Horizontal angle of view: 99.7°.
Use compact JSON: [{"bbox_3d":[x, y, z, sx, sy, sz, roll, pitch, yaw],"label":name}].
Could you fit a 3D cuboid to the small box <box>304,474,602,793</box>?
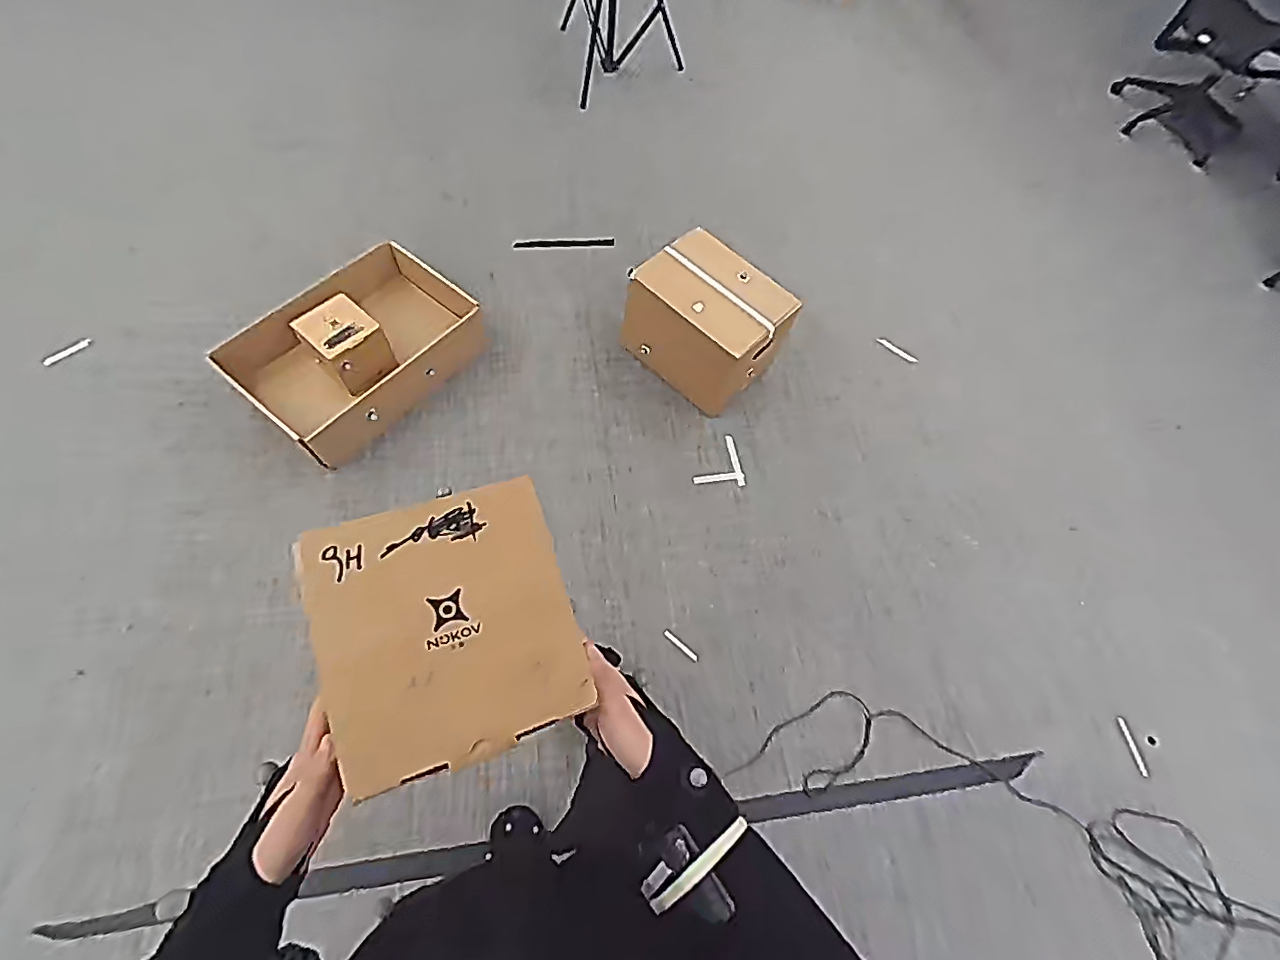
[{"bbox_3d":[-0.145,0.113,0.445,0.168,0.176,0.179,-15,79,-20],"label":"small box"}]
